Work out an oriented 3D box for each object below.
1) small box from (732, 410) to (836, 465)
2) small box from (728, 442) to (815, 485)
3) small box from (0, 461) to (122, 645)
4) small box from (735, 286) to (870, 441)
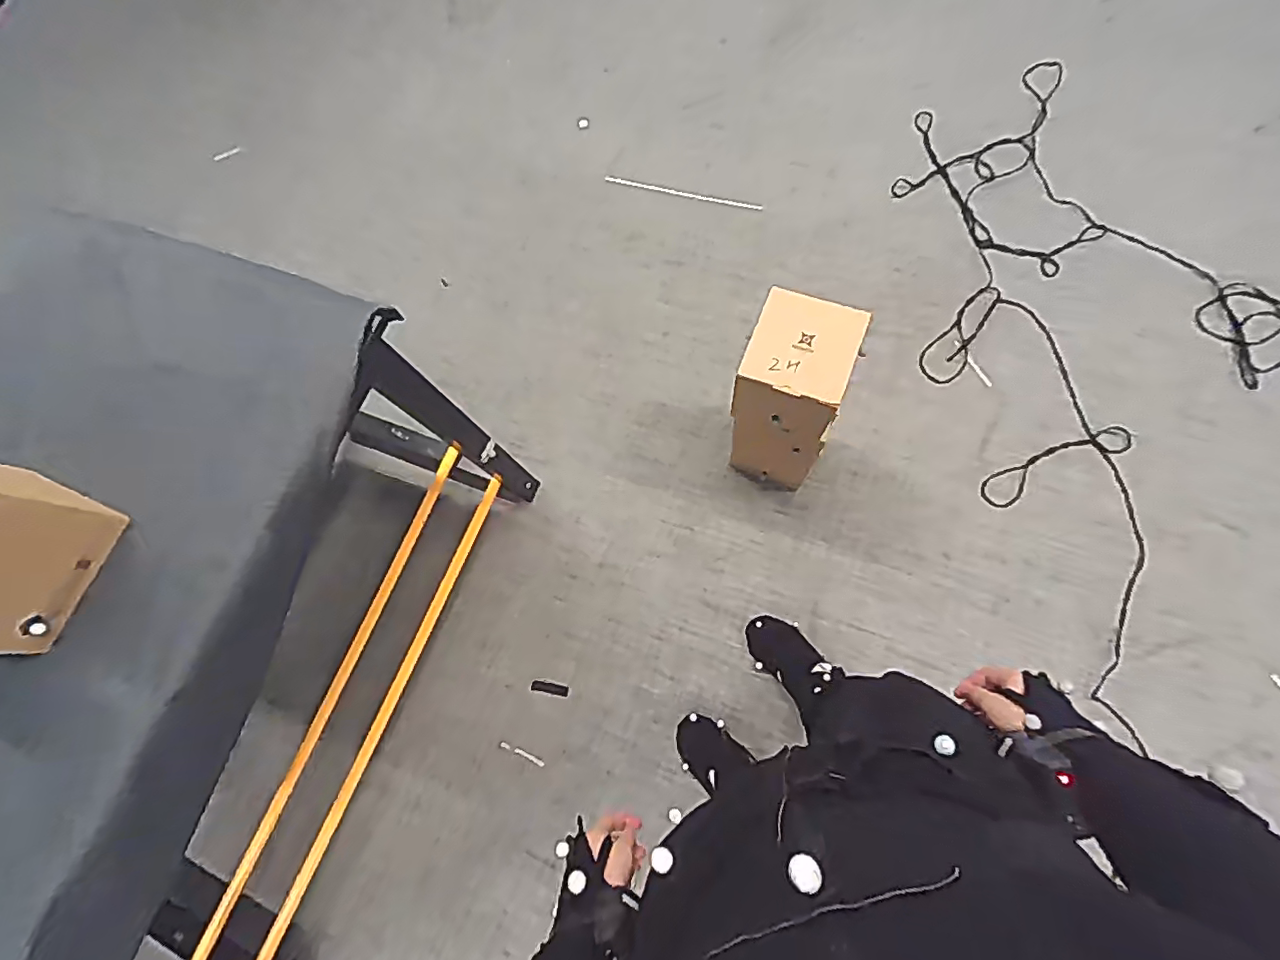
[{"bbox_3d":[0.293,-0.144,1.084,0.179,0.176,0.168,19,76,13],"label":"small box"},{"bbox_3d":[0.316,-0.102,1.239,0.179,0.176,0.168,22,77,11],"label":"small box"},{"bbox_3d":[-0.715,0.064,0.560,0.179,0.176,0.168,20,77,13],"label":"small box"},{"bbox_3d":[0.267,-0.193,0.929,0.168,0.176,0.179,20,77,12],"label":"small box"}]
